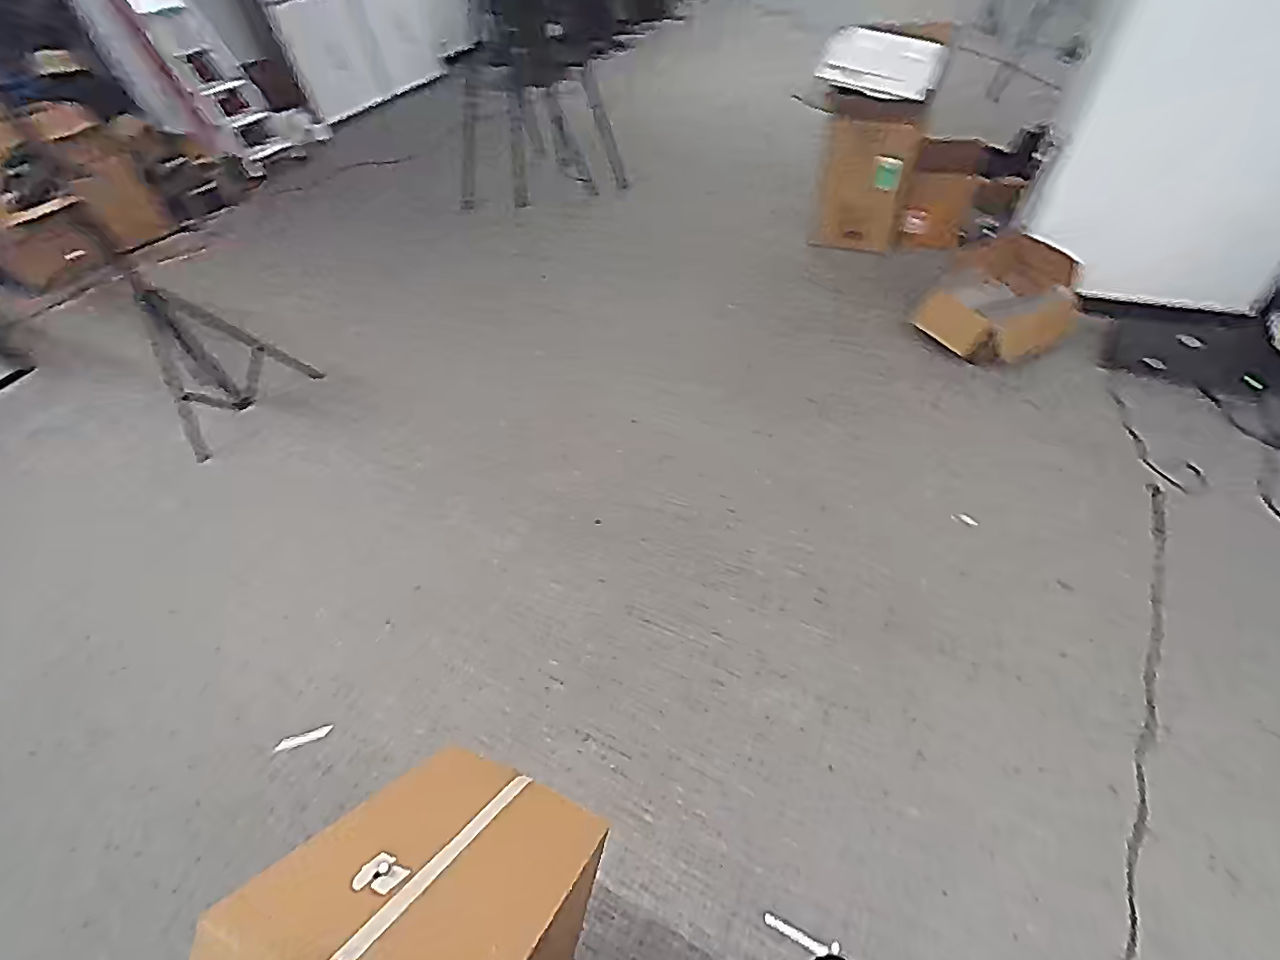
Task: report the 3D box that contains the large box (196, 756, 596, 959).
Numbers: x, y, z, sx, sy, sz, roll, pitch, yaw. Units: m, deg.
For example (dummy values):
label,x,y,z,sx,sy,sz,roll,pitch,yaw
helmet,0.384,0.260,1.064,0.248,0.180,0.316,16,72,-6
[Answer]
label,x,y,z,sx,sy,sz,roll,pitch,yaw
large box,-0.302,0.663,0.719,0.320,0.408,0.320,15,95,18
